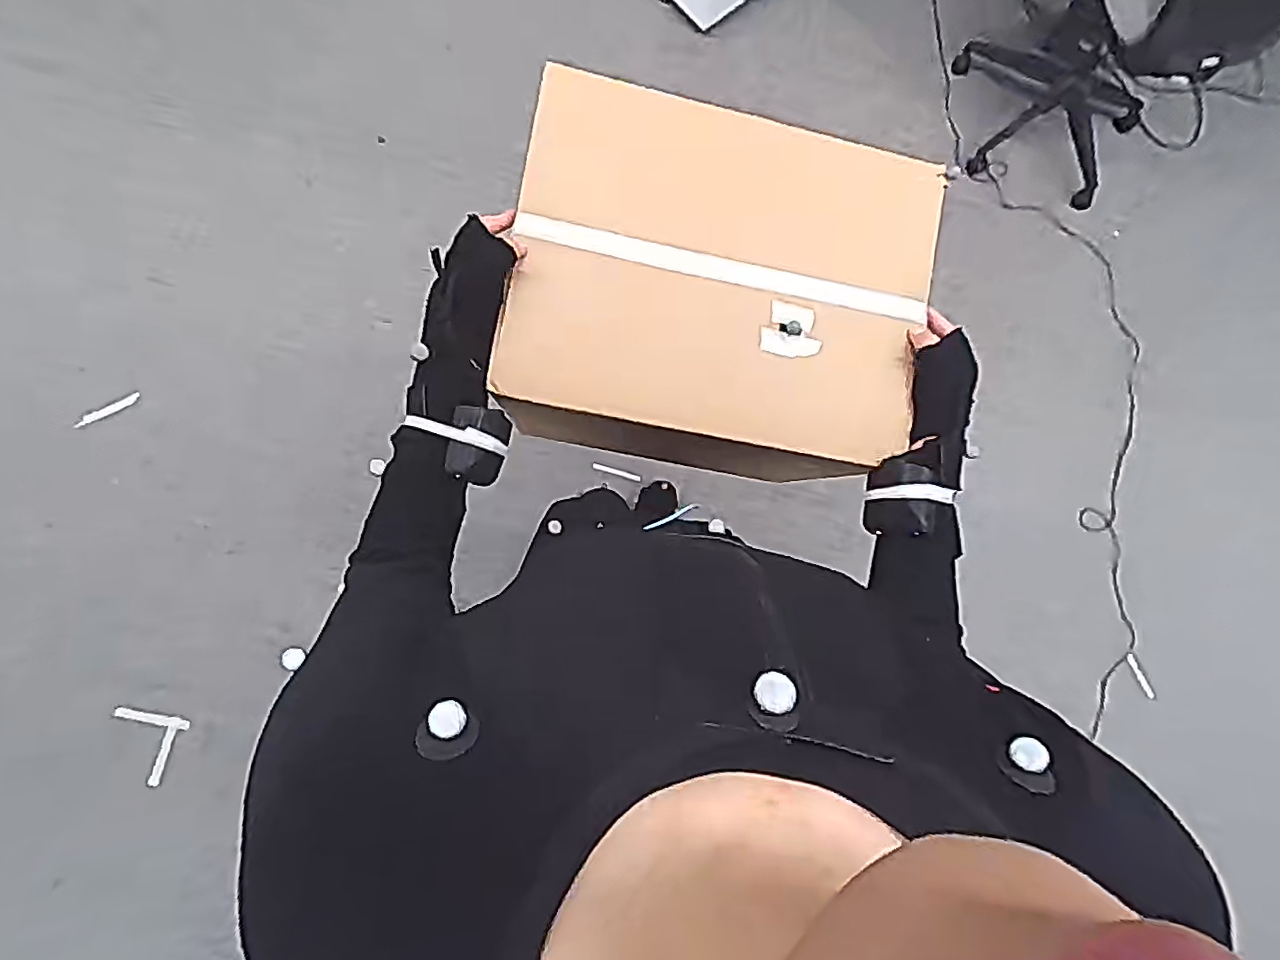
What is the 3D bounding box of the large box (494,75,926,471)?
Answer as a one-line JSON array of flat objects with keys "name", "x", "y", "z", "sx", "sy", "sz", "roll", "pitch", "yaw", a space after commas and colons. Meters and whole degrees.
[{"name": "large box", "x": 0.059, "y": -0.198, "z": 0.672, "sx": 0.408, "sy": 0.320, "sz": 0.320, "roll": 10, "pitch": 88, "yaw": -8}]
